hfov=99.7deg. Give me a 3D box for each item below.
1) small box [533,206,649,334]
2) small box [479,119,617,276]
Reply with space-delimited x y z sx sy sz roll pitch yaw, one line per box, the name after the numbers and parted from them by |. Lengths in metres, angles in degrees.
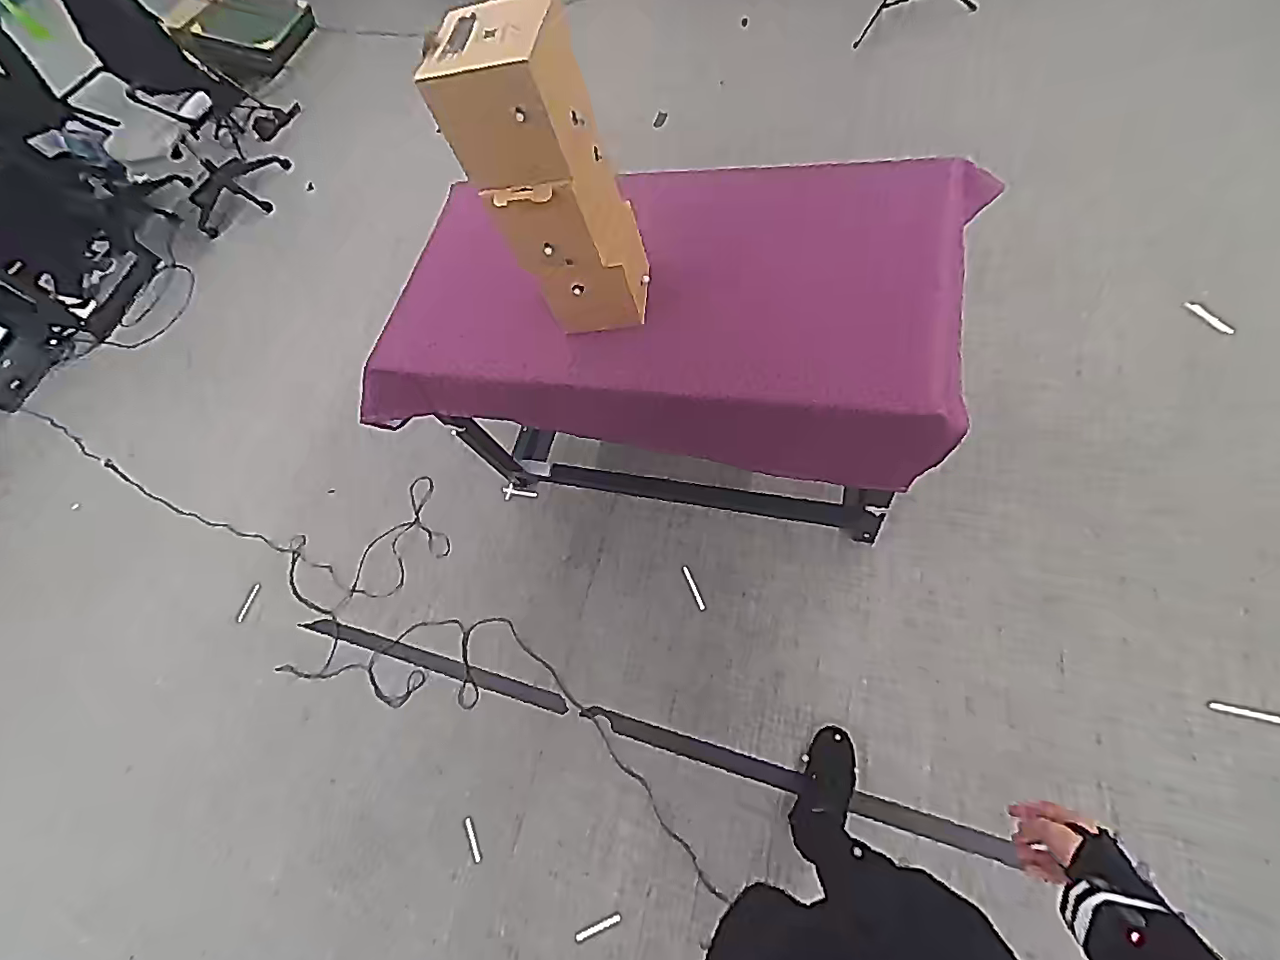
-0.090 -0.411 1.084 0.179 0.176 0.168 -2 65 14 | small box
-0.149 -0.487 0.949 0.168 0.176 0.179 3 66 18 | small box
